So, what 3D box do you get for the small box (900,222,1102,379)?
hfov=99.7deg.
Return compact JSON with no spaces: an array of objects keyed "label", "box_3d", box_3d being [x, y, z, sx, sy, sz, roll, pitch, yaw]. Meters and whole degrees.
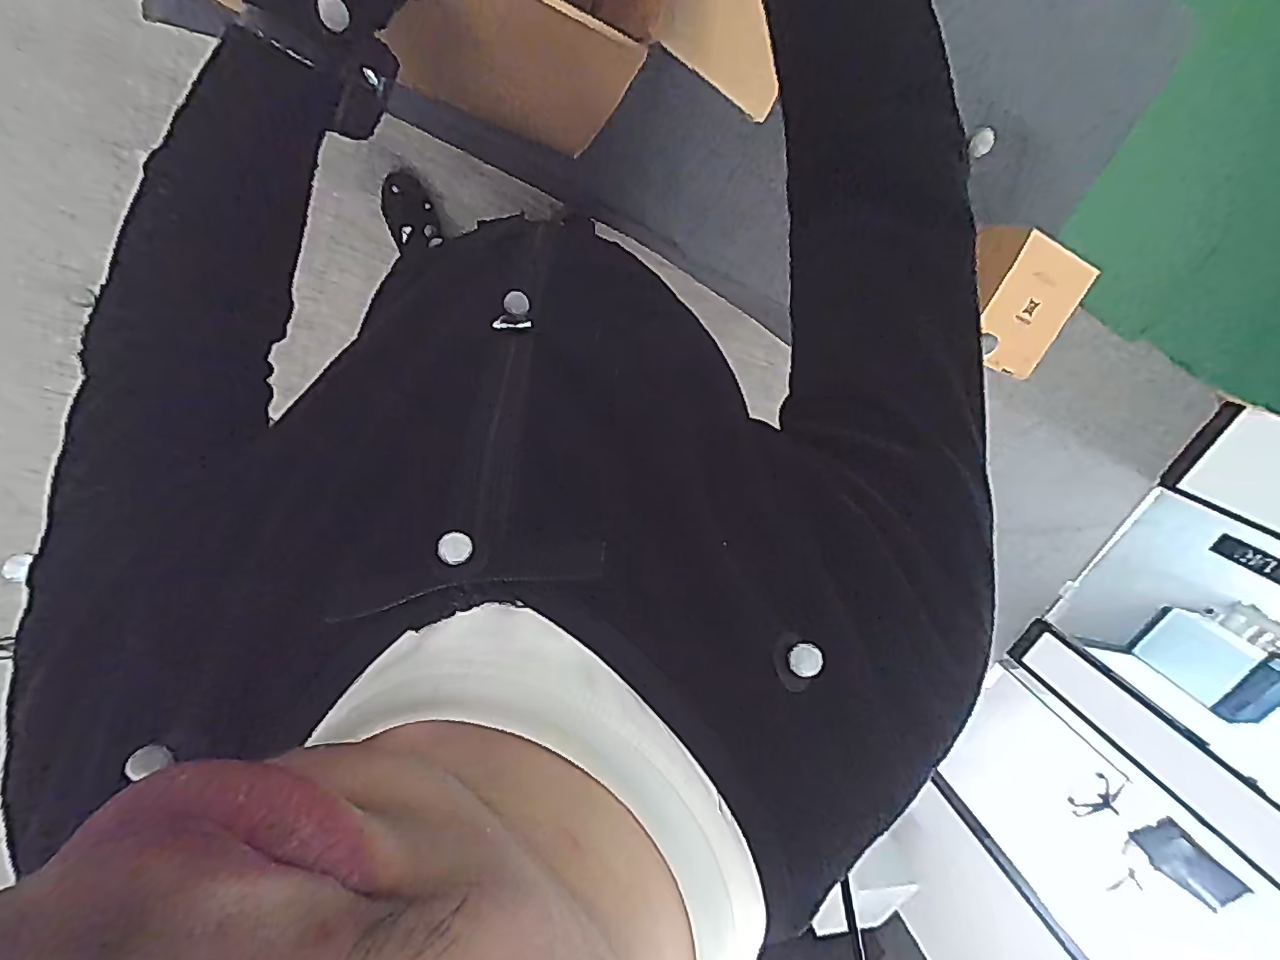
[{"label":"small box","box_3d":[0.550,-0.286,0.854,0.168,0.176,0.179,12,113,-25]}]
